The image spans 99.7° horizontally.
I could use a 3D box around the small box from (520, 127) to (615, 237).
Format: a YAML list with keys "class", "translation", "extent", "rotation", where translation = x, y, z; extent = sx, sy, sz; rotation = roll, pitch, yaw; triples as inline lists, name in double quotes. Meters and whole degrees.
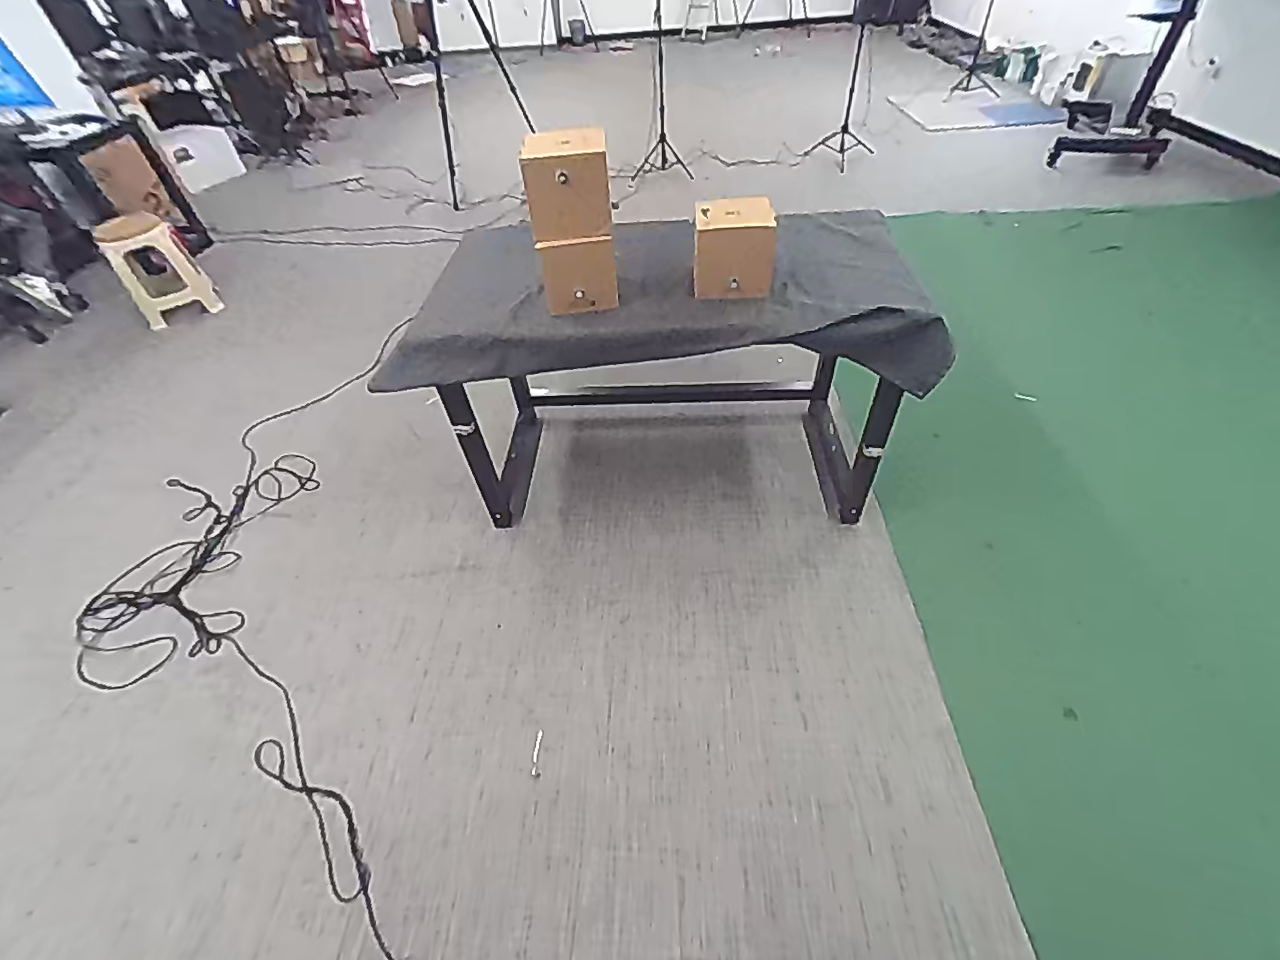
- class: "small box"
  translation: [-0.149, -0.639, 1.168]
  extent: [0.179, 0.176, 0.168]
  rotation: [-4, 48, -1]

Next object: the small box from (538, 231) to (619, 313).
- class: "small box"
  translation: [-0.143, -0.516, 1.275]
  extent: [0.168, 0.176, 0.179]
  rotation: [-8, 47, -3]

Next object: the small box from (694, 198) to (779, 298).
- class: "small box"
  translation: [0.219, -0.543, 1.272]
  extent: [0.179, 0.176, 0.168]
  rotation: [0, 47, 4]
